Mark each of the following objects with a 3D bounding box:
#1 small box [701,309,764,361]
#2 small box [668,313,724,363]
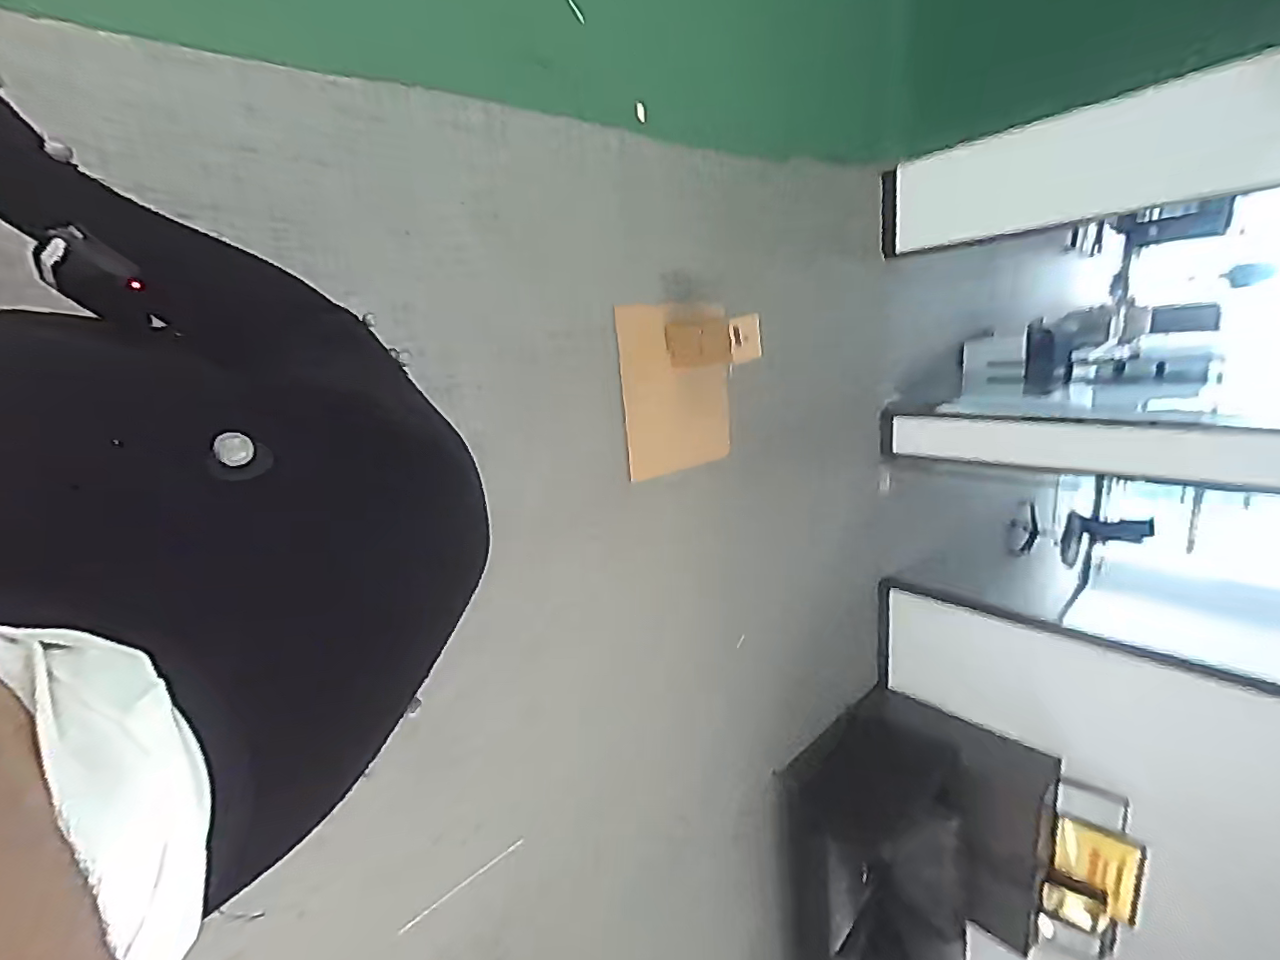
[{"bbox_3d":[0.343,-0.546,2.042,0.179,0.176,0.168,-22,112,-37],"label":"small box"},{"bbox_3d":[0.237,-0.569,2.165,0.179,0.176,0.168,-25,114,-34],"label":"small box"}]
